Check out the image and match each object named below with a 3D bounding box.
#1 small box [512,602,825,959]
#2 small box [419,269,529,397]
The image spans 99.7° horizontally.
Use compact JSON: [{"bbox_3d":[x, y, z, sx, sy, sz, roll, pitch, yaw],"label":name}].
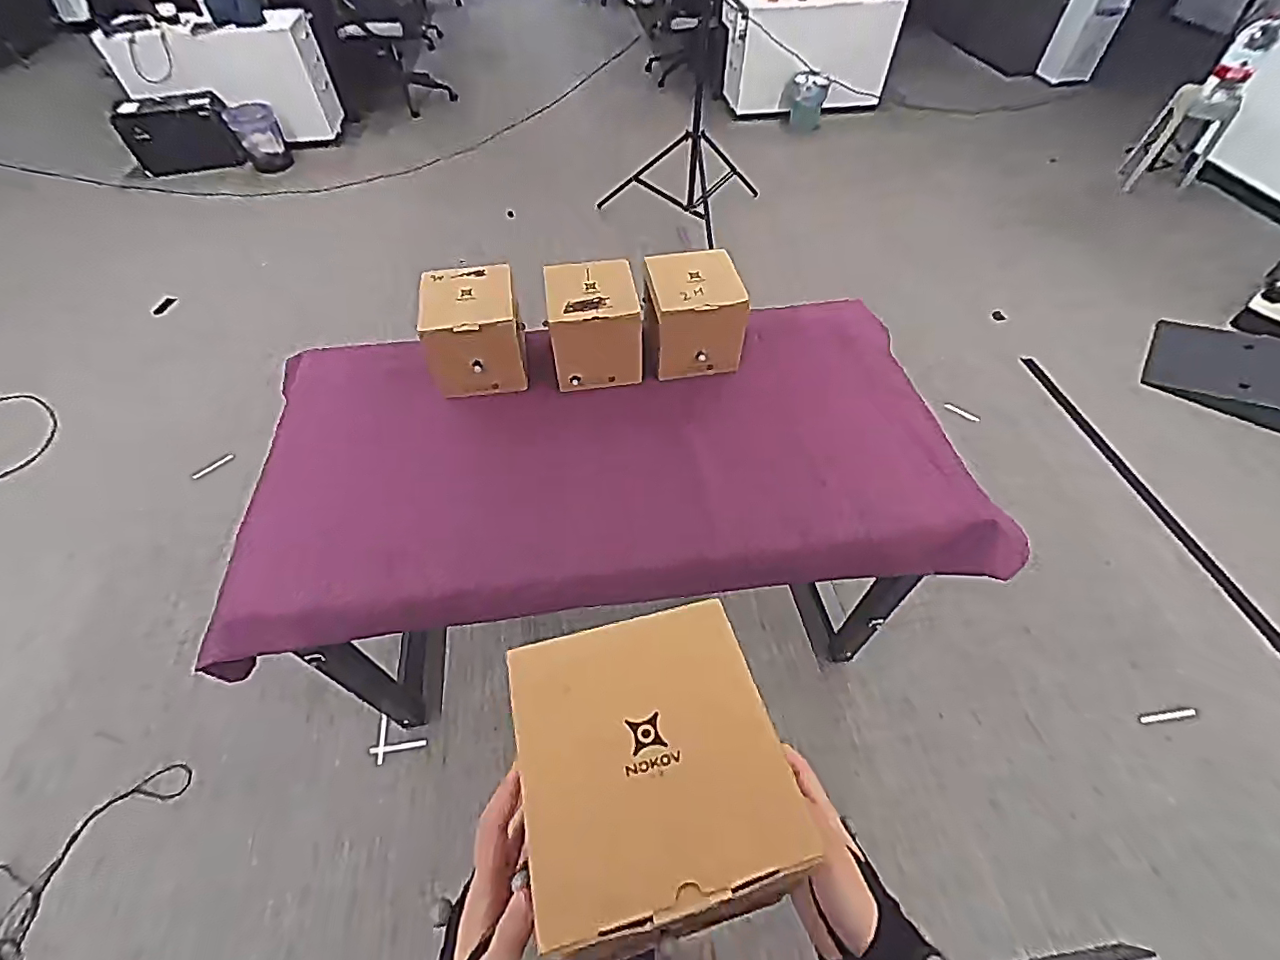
[{"bbox_3d":[0.007,0.225,0.407,0.168,0.176,0.179,-12,47,-10],"label":"small box"},{"bbox_3d":[-0.312,-0.275,1.043,0.168,0.176,0.179,-8,56,-6],"label":"small box"}]
